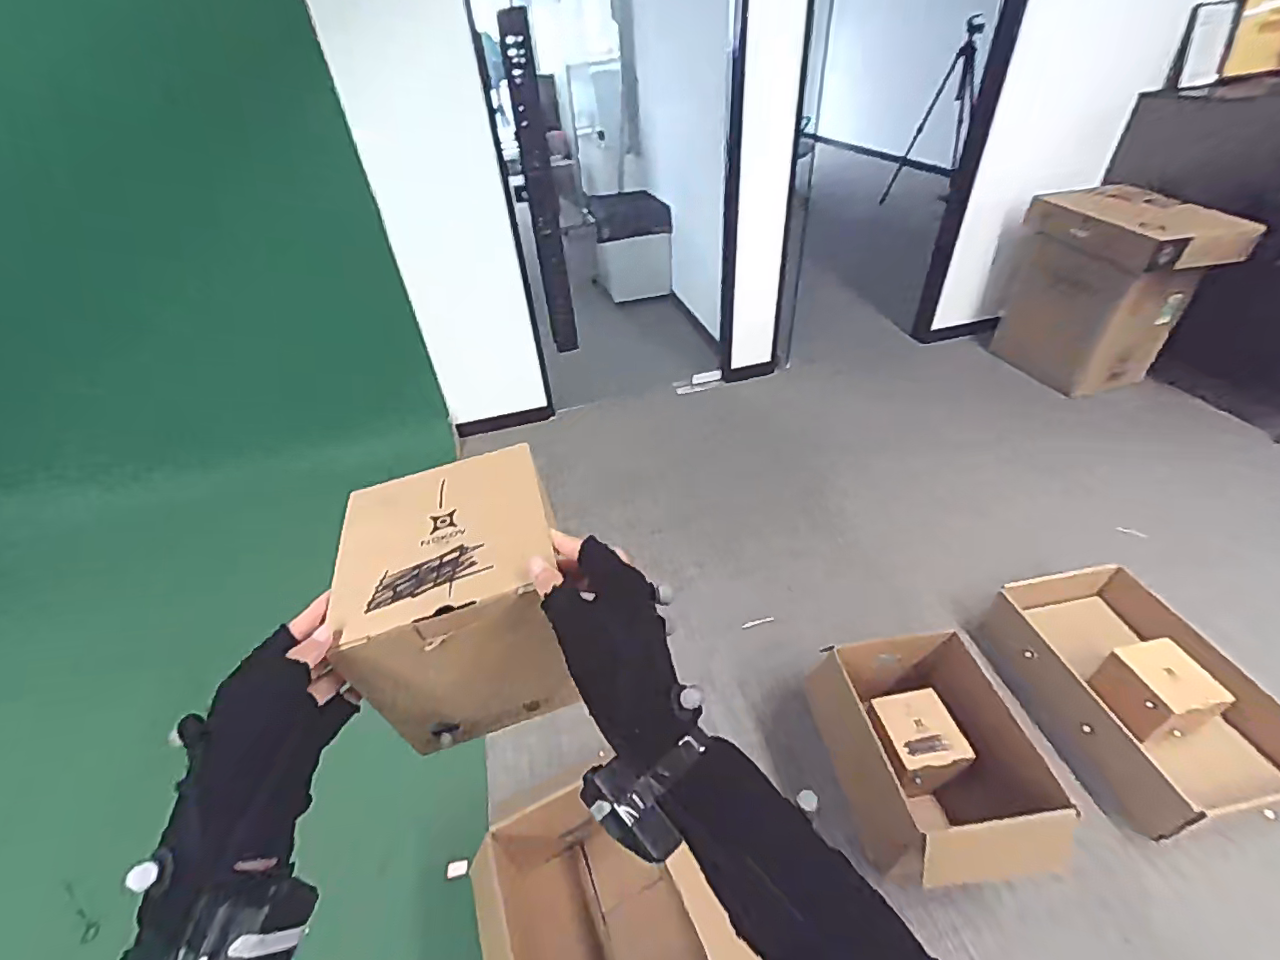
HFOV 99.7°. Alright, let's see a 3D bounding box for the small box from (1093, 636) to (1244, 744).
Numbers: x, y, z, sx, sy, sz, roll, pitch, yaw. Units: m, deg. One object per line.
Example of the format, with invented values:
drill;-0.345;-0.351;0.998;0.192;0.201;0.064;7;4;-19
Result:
small box;1.302;0.524;1.351;0.168;0.176;0.179;-9;40;-6
